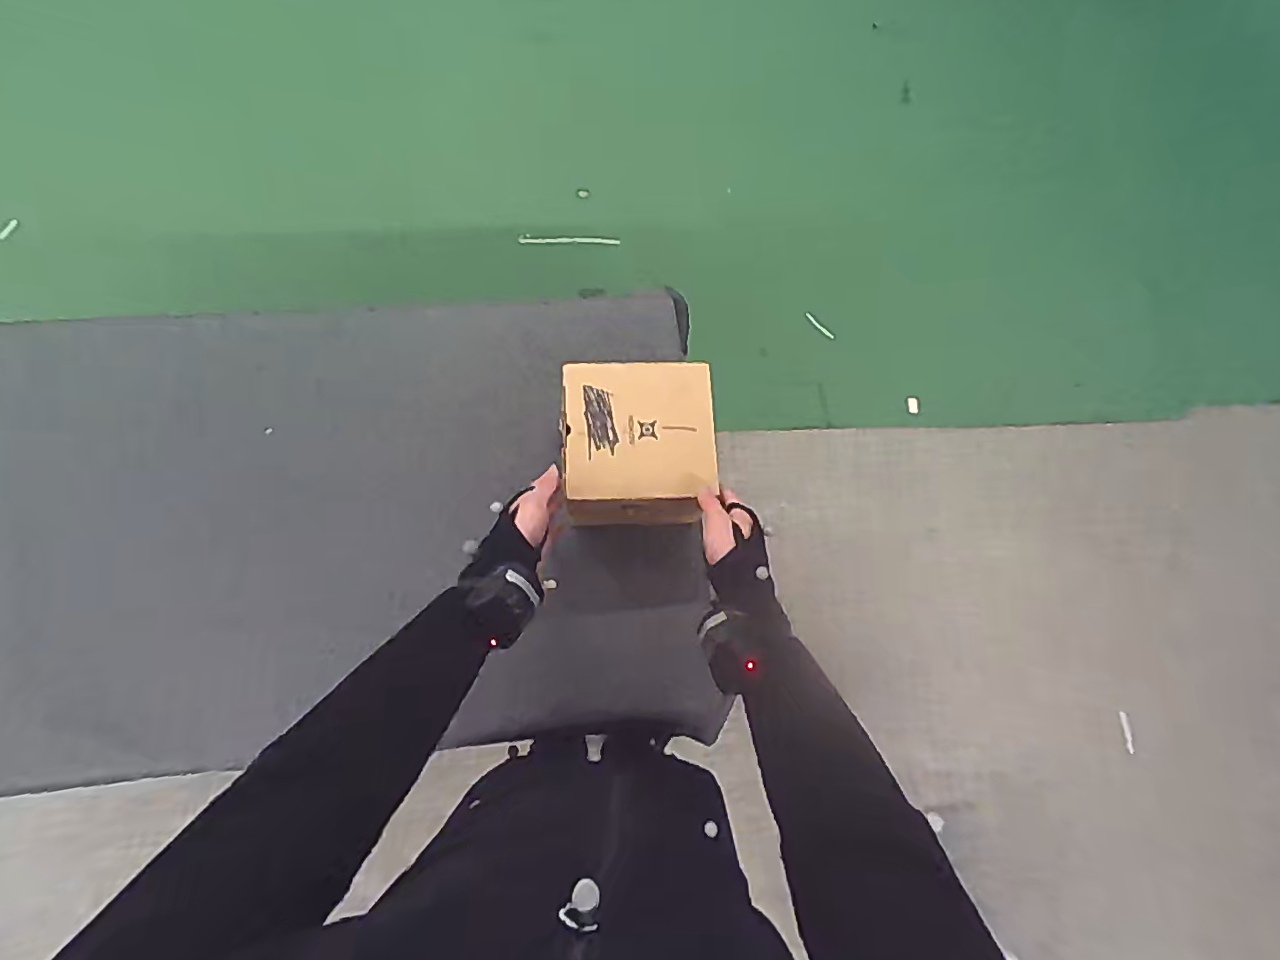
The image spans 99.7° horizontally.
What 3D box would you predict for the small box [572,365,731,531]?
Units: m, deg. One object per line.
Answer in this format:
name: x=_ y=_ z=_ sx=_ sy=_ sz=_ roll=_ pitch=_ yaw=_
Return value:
small box: x=0.003 y=-0.031 z=0.685 sx=0.179 sy=0.176 sz=0.168 roll=0 pitch=74 yaw=-8
